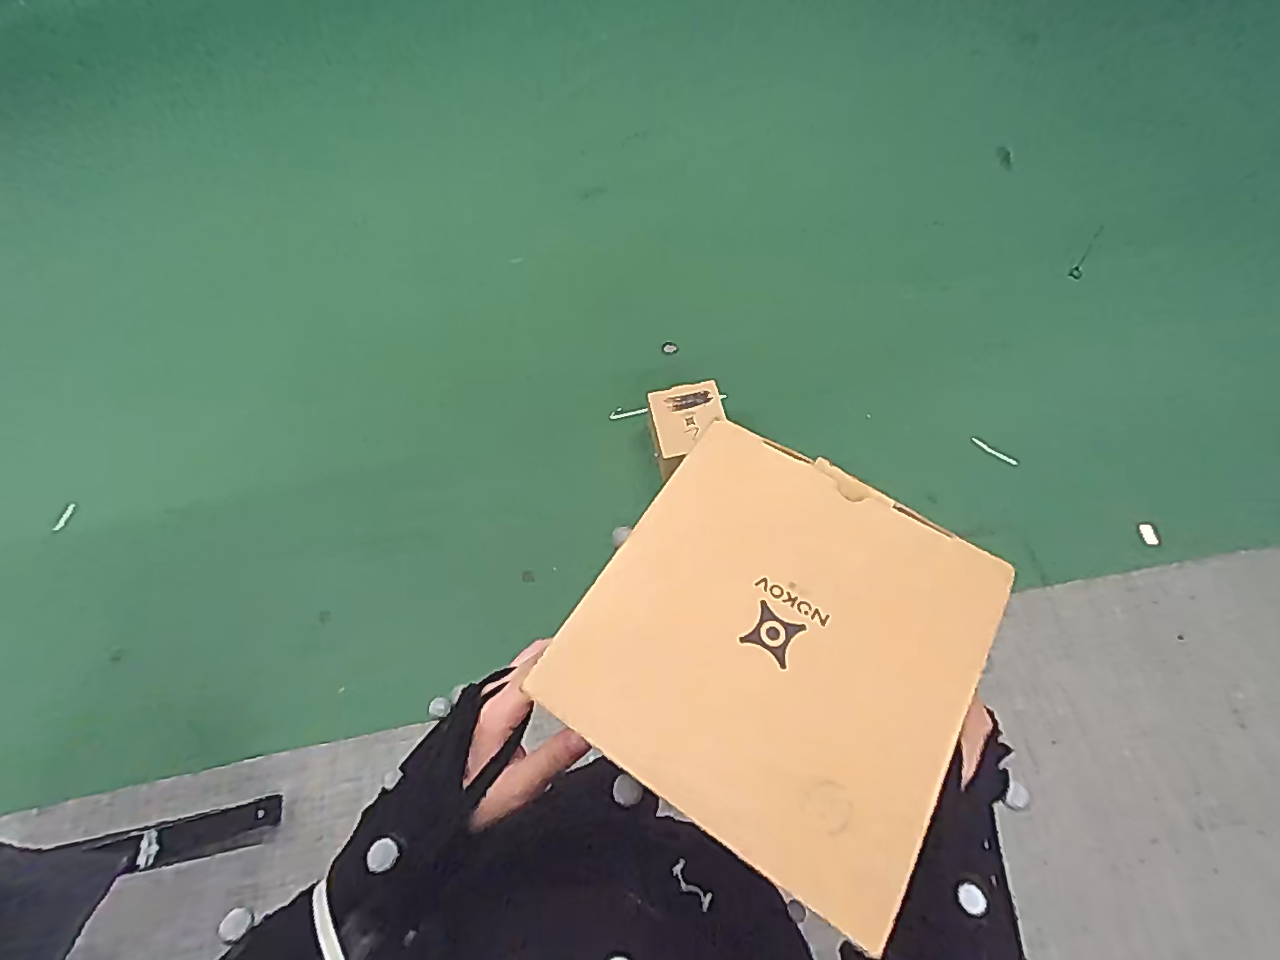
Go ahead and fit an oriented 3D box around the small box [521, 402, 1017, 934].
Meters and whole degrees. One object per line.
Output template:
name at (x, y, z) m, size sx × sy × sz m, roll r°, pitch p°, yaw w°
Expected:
small box at (0.064, 0.096, 0.311) m, size 0.168 × 0.176 × 0.179 m, roll 30°, pitch 66°, yaw 17°
